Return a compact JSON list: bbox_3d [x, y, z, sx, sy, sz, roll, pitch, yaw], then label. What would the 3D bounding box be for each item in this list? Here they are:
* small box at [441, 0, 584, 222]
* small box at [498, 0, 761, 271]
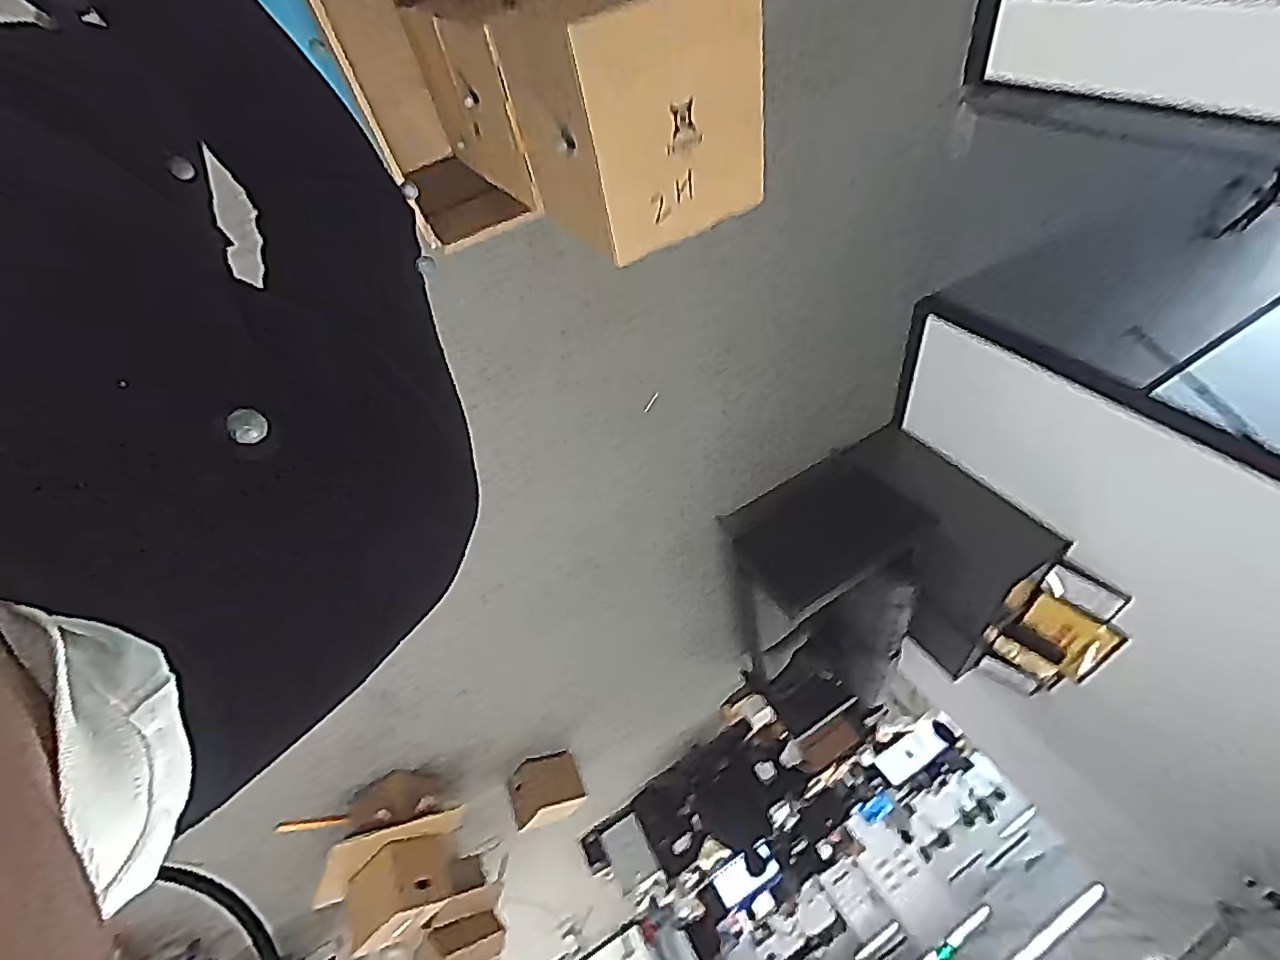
[{"bbox_3d":[-0.091,-0.421,0.603,0.179,0.176,0.168,-29,139,-14],"label":"small box"},{"bbox_3d":[-0.008,-0.327,0.496,0.168,0.176,0.179,-29,139,-13],"label":"small box"}]
